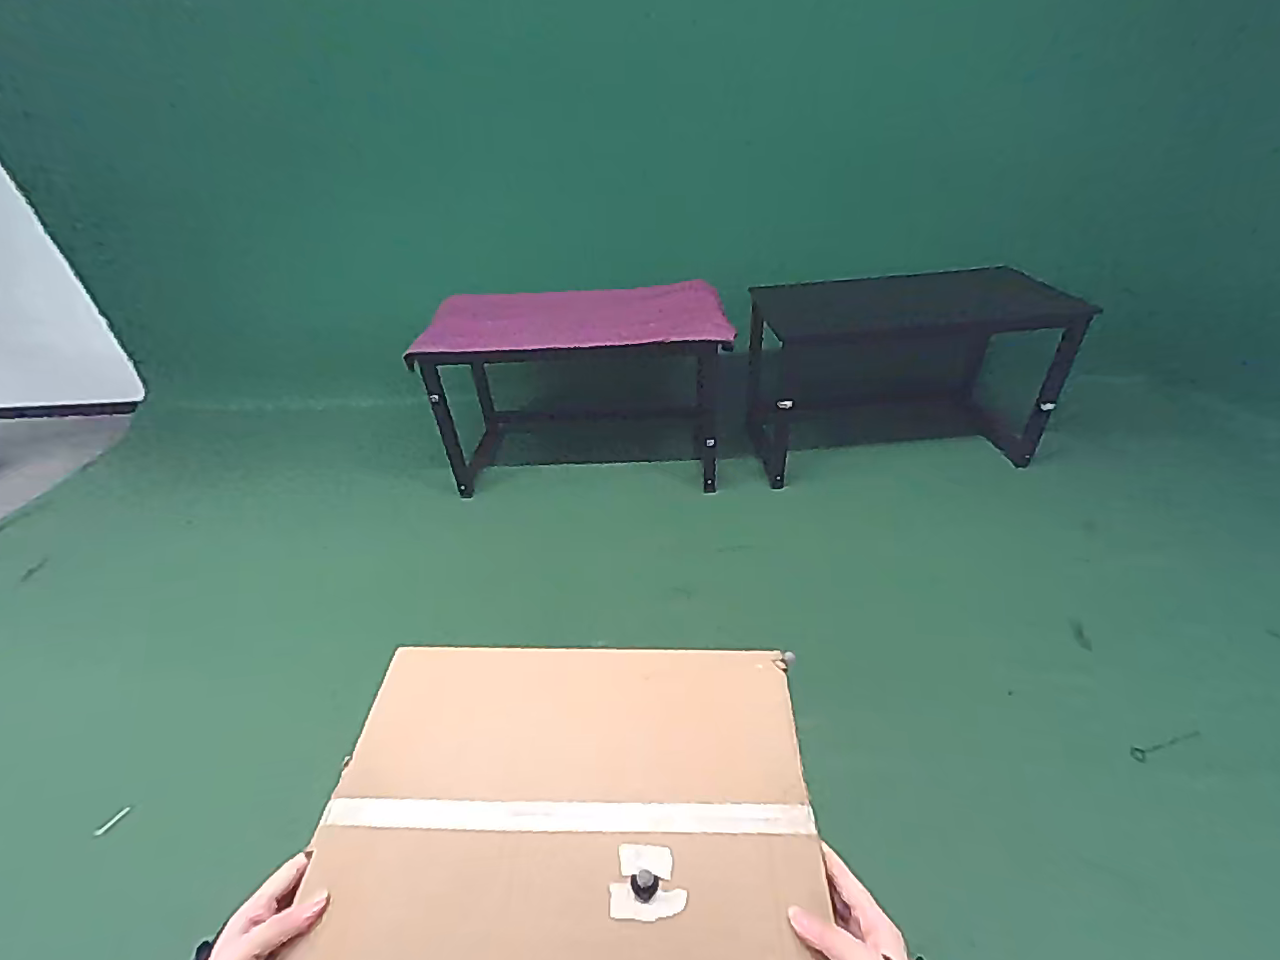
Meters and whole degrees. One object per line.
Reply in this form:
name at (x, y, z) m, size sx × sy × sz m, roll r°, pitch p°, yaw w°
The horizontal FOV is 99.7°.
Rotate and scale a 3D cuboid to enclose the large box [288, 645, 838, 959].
large box at (-0.055, 0.392, 0.562) m, size 0.408 × 0.320 × 0.320 m, roll 1°, pitch 42°, yaw 1°
